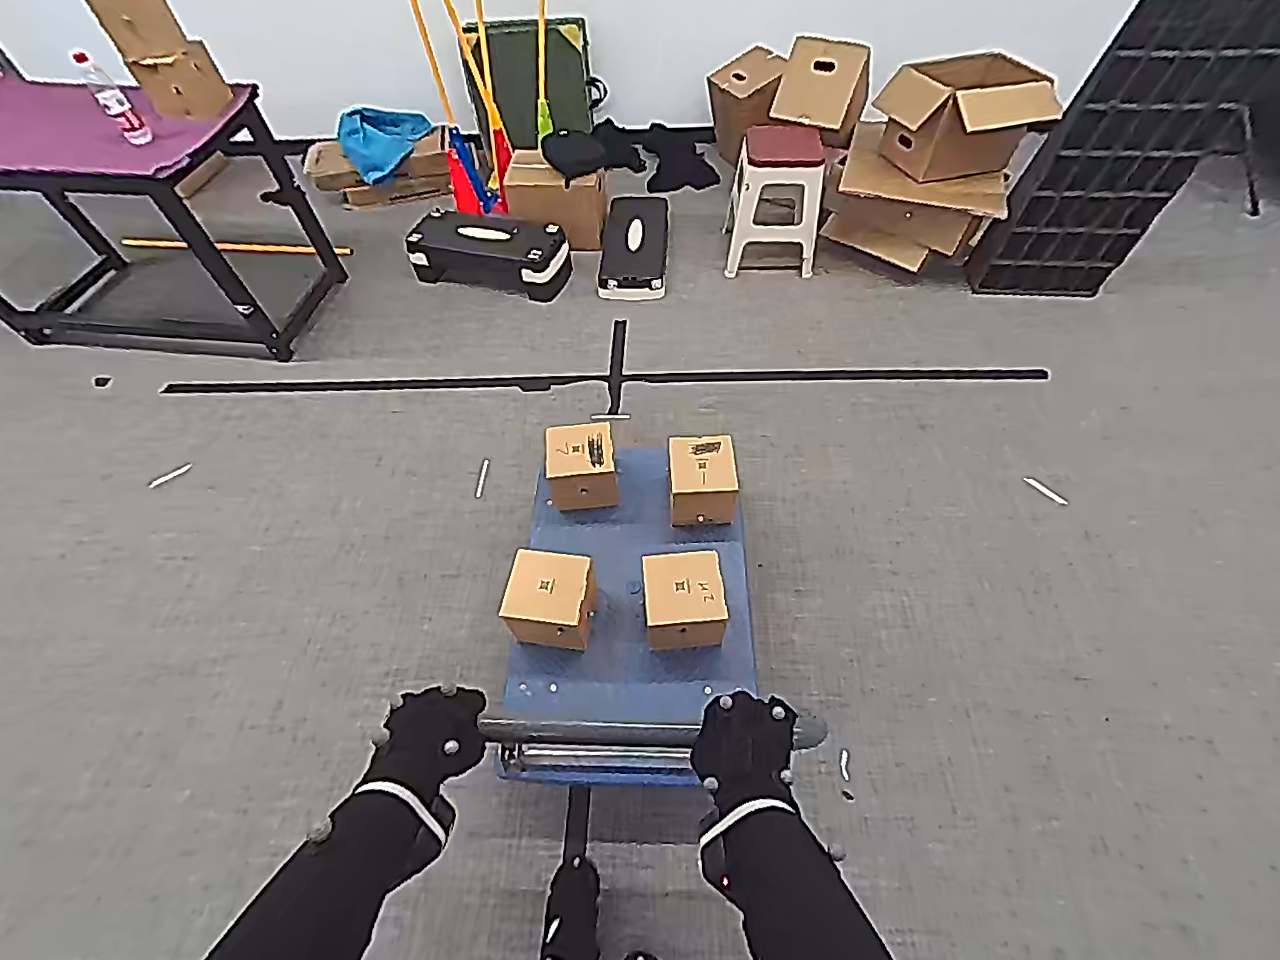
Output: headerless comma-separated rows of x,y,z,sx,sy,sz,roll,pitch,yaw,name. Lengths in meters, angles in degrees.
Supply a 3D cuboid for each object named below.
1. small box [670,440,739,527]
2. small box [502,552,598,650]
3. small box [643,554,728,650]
0.165,0.012,1.447,0.168,0.176,0.179,-2,57,1,small box
-0.202,0.287,1.273,0.179,0.176,0.168,6,56,5,small box
0.102,0.288,1.260,0.179,0.176,0.168,-4,56,0,small box
